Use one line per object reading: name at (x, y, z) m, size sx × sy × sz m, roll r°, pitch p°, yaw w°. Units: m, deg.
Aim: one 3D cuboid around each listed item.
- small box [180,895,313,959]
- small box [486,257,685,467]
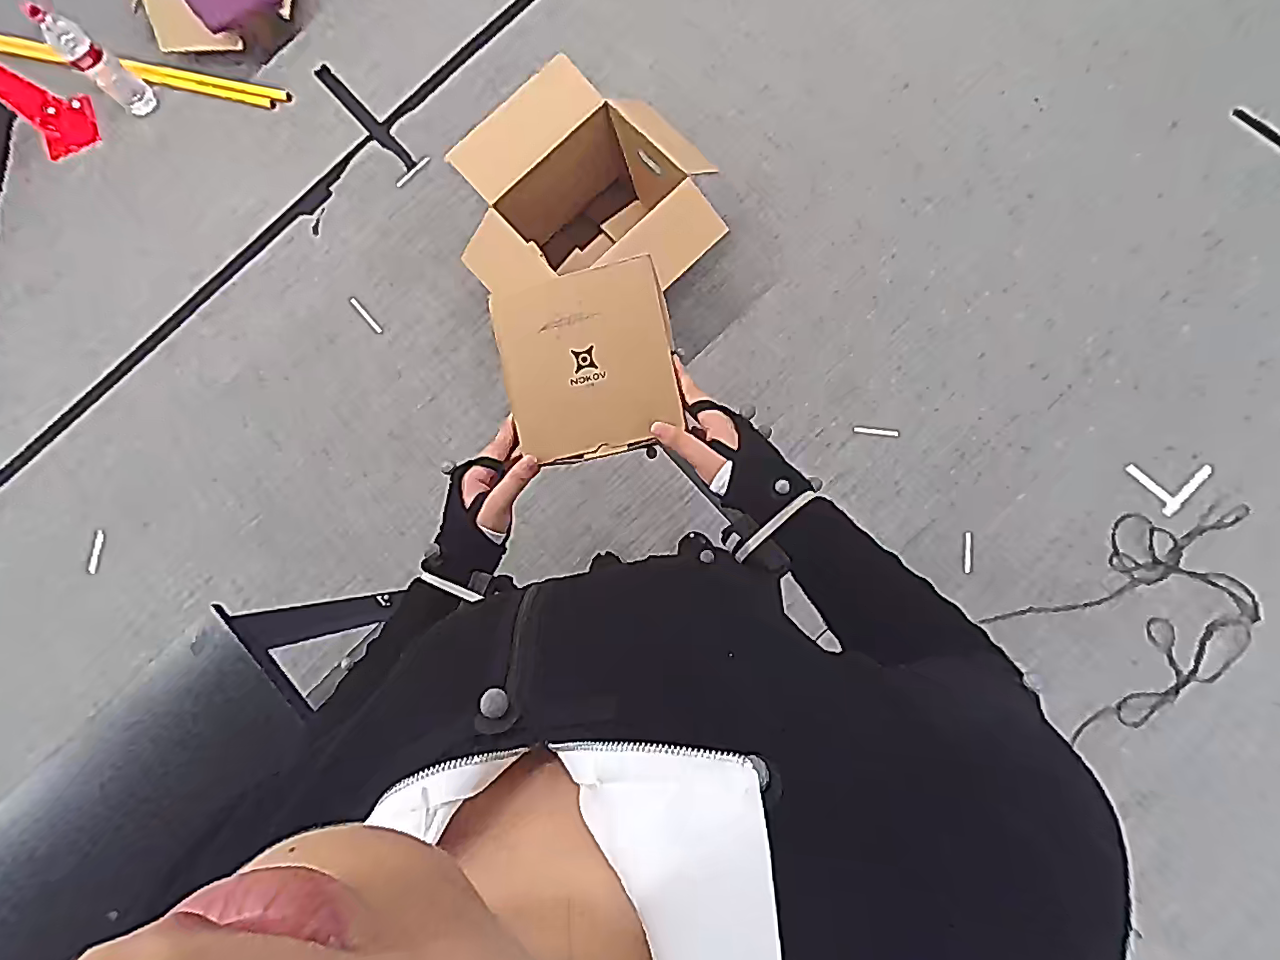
small box at (-0.546, 0.691, 0.682) m, size 0.168 × 0.176 × 0.179 m, roll -42°, pitch 83°, yaw -1°
small box at (-0.047, -0.118, 0.607) m, size 0.168 × 0.176 × 0.179 m, roll -12°, pitch 91°, yaw 8°
